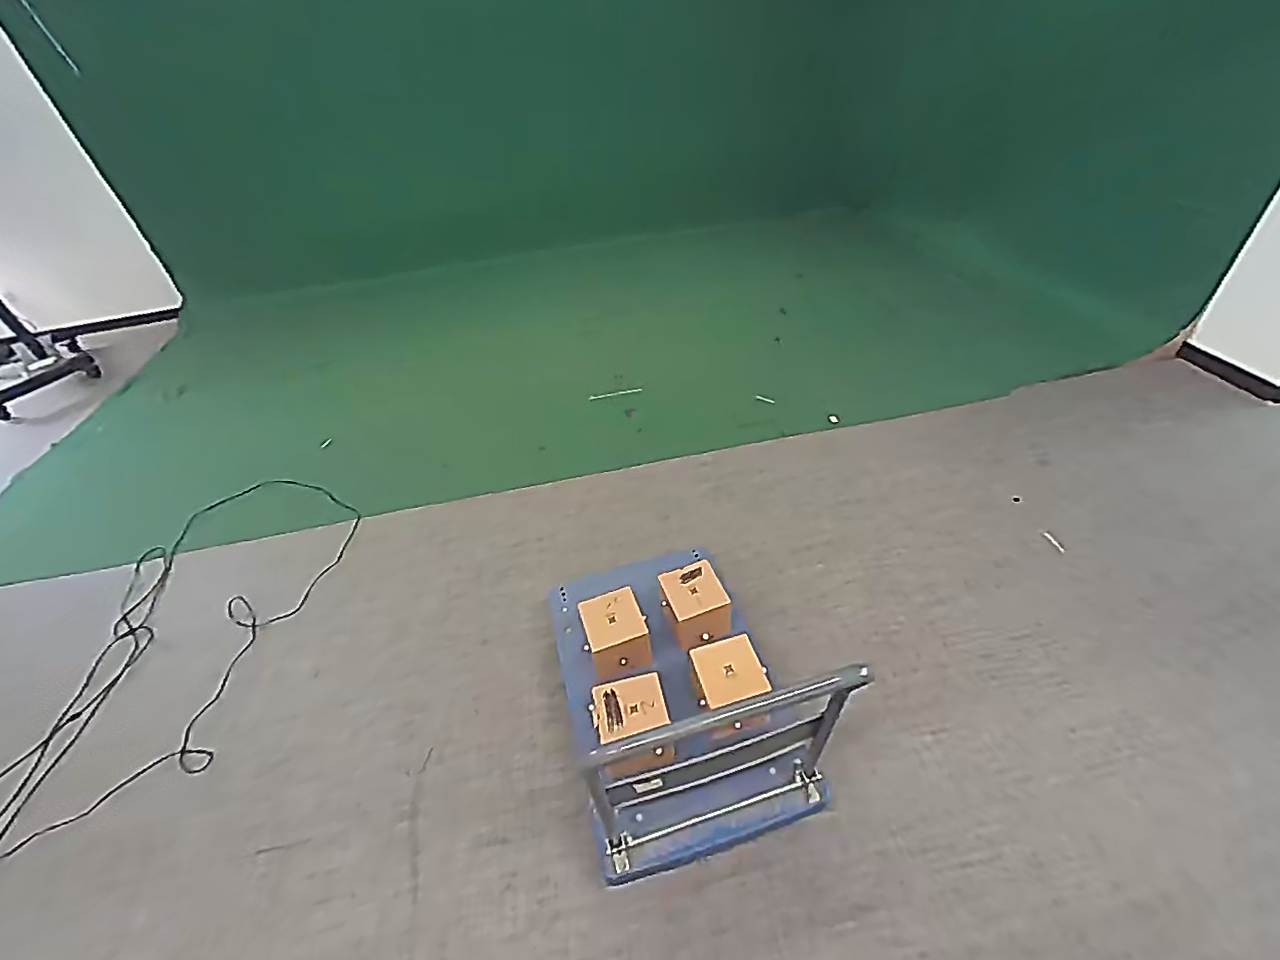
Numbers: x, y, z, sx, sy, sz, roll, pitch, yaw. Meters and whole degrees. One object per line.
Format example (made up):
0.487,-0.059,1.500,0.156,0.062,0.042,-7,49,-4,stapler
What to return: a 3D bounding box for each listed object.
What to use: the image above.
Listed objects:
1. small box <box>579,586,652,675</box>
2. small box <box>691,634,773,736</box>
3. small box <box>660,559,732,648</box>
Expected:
-0.070,0.450,1.595,0.168,0.176,0.179,-16,43,-11,small box
0.240,0.548,1.446,0.168,0.176,0.179,-14,43,-7,small box
0.167,0.375,1.641,0.168,0.176,0.179,-18,44,-10,small box
